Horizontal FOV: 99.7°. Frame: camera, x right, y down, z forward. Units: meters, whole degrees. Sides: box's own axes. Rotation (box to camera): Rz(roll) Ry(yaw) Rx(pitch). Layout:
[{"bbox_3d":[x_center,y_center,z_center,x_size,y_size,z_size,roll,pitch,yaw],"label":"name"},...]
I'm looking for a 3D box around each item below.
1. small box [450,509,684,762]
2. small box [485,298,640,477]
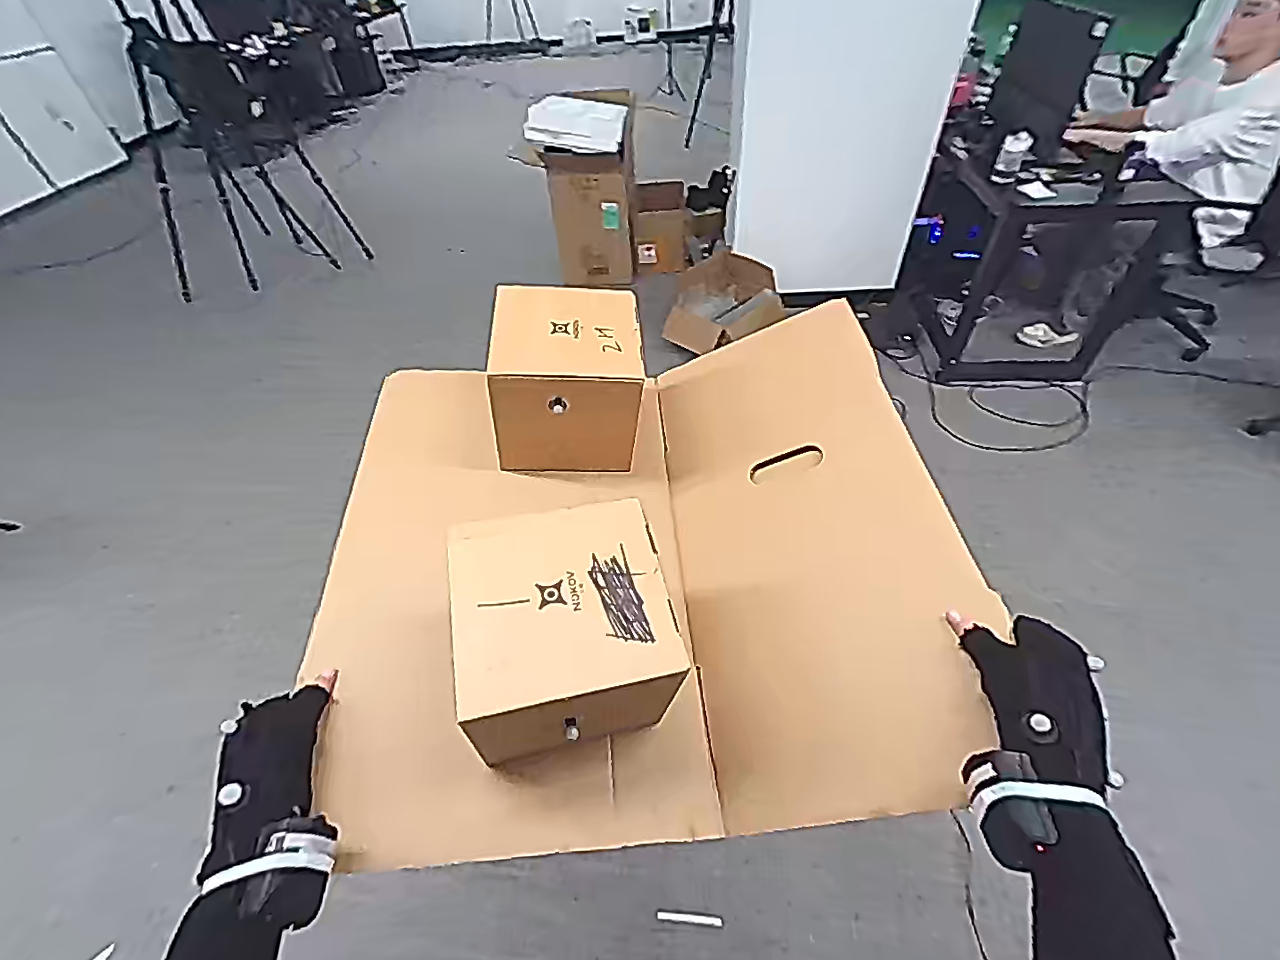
[{"bbox_3d":[-0.075,0.149,0.514,0.179,0.176,0.168,-8,55,-13],"label":"small box"},{"bbox_3d":[-0.099,-0.117,0.713,0.179,0.176,0.168,1,53,-8],"label":"small box"}]
